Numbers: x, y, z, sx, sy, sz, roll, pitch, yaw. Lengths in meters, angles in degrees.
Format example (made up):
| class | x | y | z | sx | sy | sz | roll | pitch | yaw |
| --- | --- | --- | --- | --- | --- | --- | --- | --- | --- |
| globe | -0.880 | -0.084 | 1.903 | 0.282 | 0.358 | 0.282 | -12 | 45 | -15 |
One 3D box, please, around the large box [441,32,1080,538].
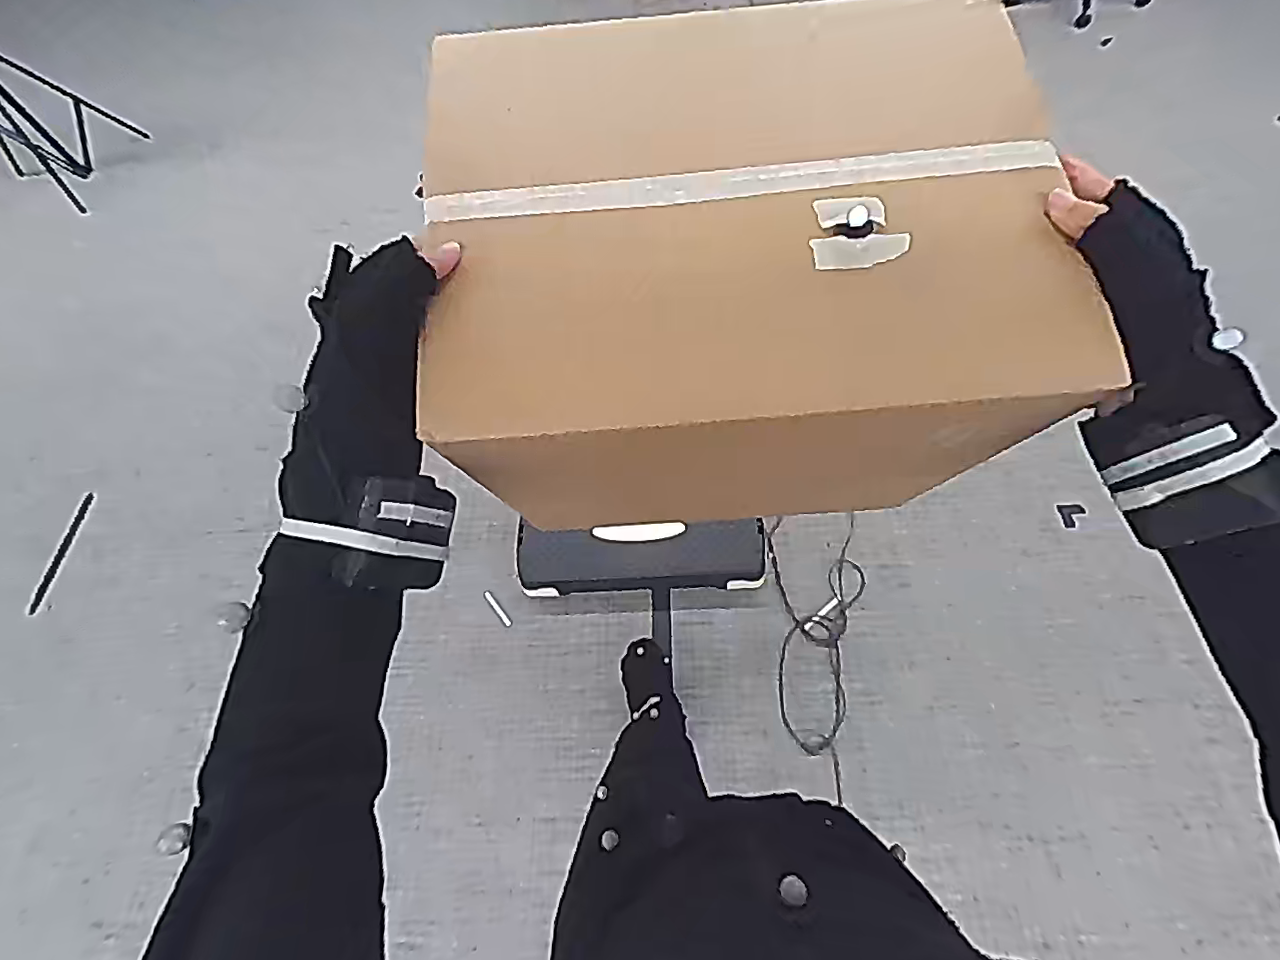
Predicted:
| class | x | y | z | sx | sy | sz | roll | pitch | yaw |
| --- | --- | --- | --- | --- | --- | --- | --- | --- | --- |
| large box | 0.065 | -0.138 | 0.516 | 0.408 | 0.320 | 0.320 | -5 | 74 | 1 |
